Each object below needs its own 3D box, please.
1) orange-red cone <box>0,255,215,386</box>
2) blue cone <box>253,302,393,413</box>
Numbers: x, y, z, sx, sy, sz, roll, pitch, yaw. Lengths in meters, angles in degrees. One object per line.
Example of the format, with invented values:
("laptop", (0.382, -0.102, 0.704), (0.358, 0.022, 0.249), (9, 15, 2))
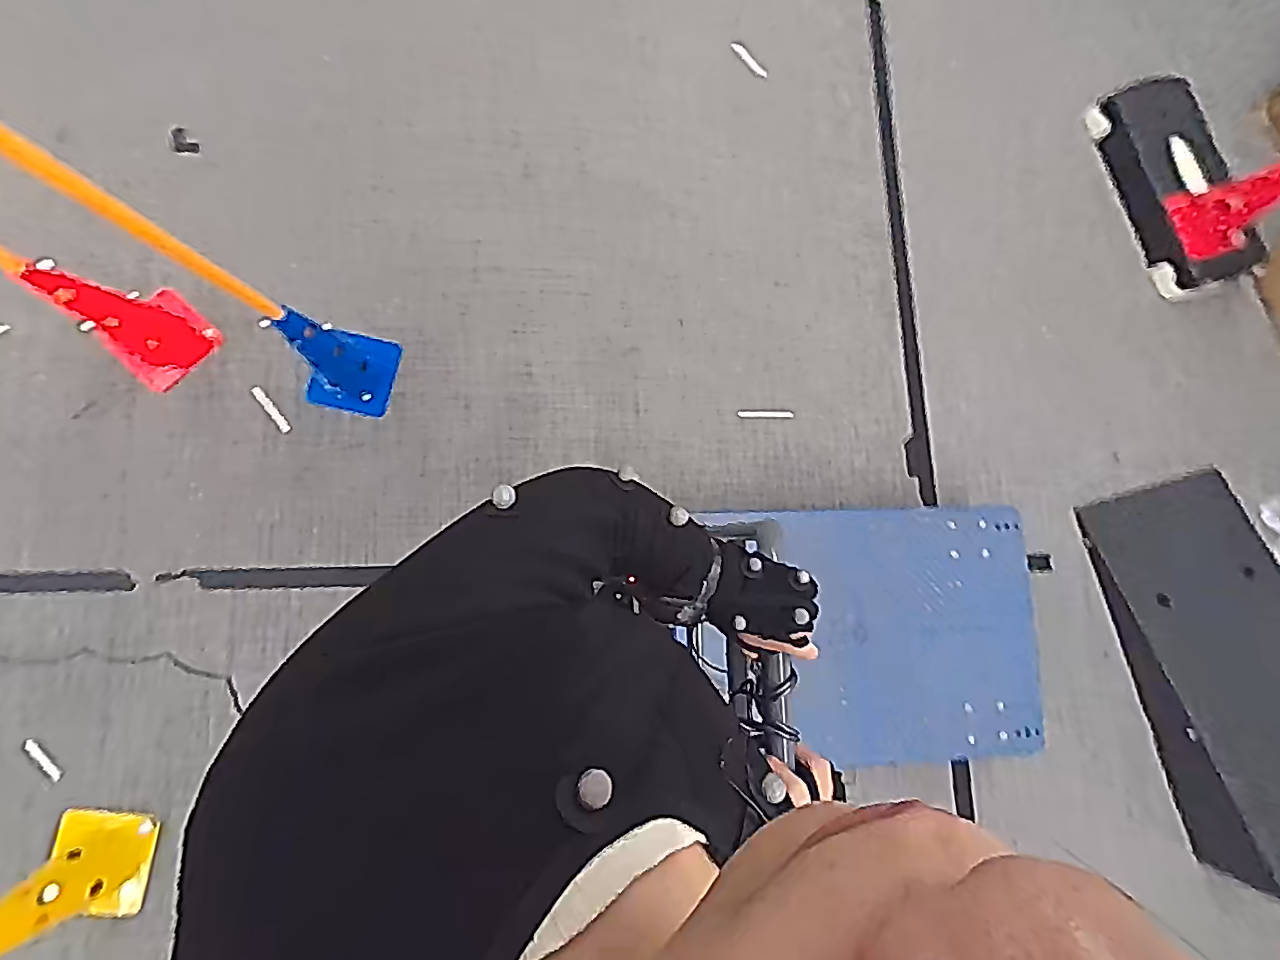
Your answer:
("orange-red cone", (-1.147, -0.369, 1.144), (0.199, 0.360, 0.198), (45, 81, 0))
("blue cone", (-0.713, -0.292, 1.194), (0.192, 0.380, 0.193), (14, 81, -3))
